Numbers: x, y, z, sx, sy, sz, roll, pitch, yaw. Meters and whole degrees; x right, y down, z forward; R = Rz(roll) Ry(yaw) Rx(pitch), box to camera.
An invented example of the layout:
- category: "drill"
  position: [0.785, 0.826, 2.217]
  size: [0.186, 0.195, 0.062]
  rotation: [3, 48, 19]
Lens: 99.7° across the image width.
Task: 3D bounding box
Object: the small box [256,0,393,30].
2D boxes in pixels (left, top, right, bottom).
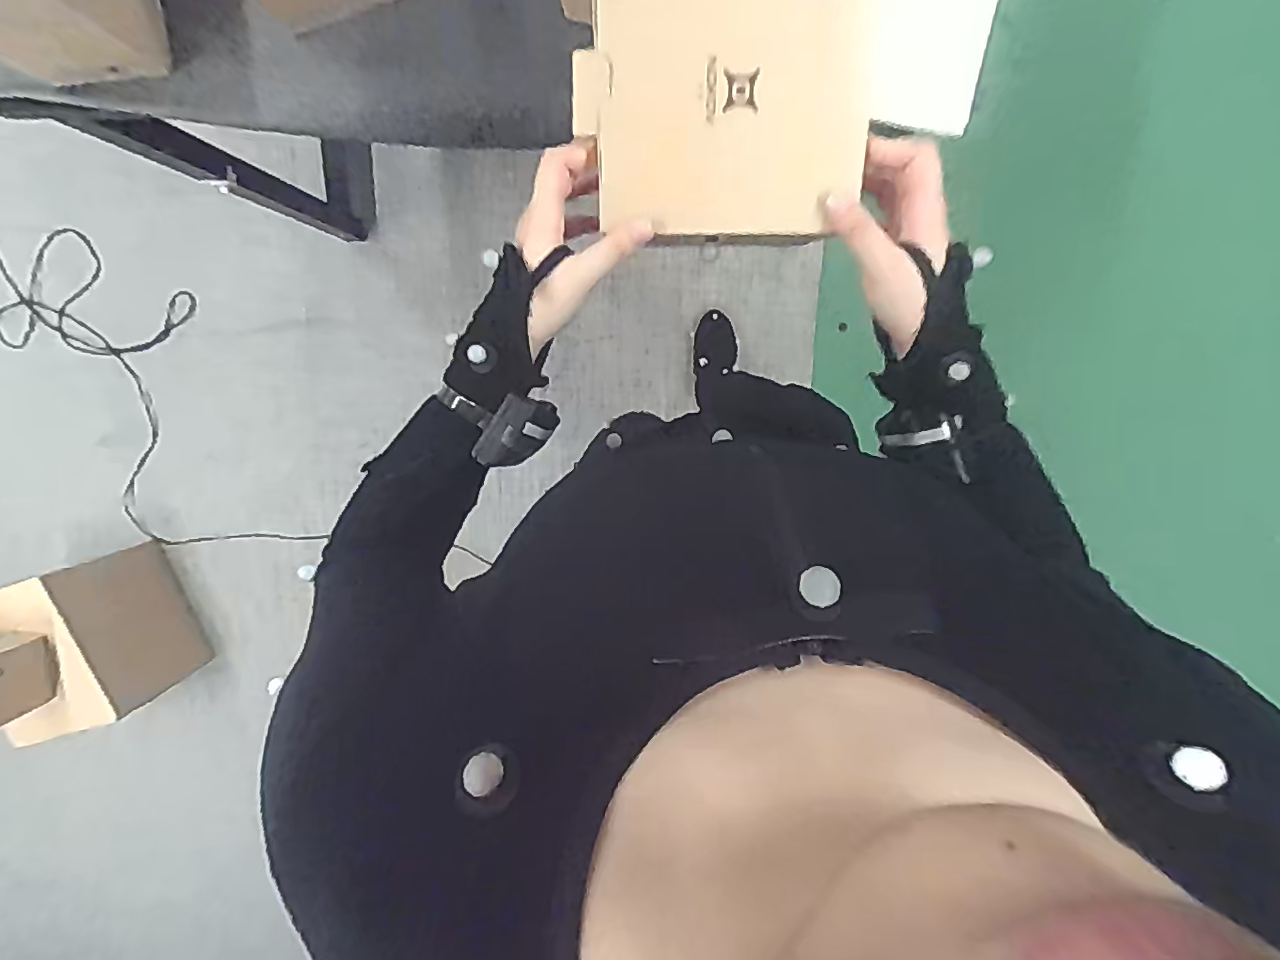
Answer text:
- category: "small box"
  position: [-0.366, -0.618, 0.554]
  size: [0.179, 0.176, 0.168]
  rotation: [-14, 100, 5]

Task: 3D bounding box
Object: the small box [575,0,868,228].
- category: "small box"
  position: [0.051, -0.285, 0.405]
  size: [0.179, 0.176, 0.168]
  rotation: [-1, 112, 3]

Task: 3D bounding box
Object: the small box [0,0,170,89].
- category: "small box"
  position: [-0.664, -0.563, 0.577]
  size: [0.168, 0.176, 0.179]
  rotation: [-3, 100, 4]
